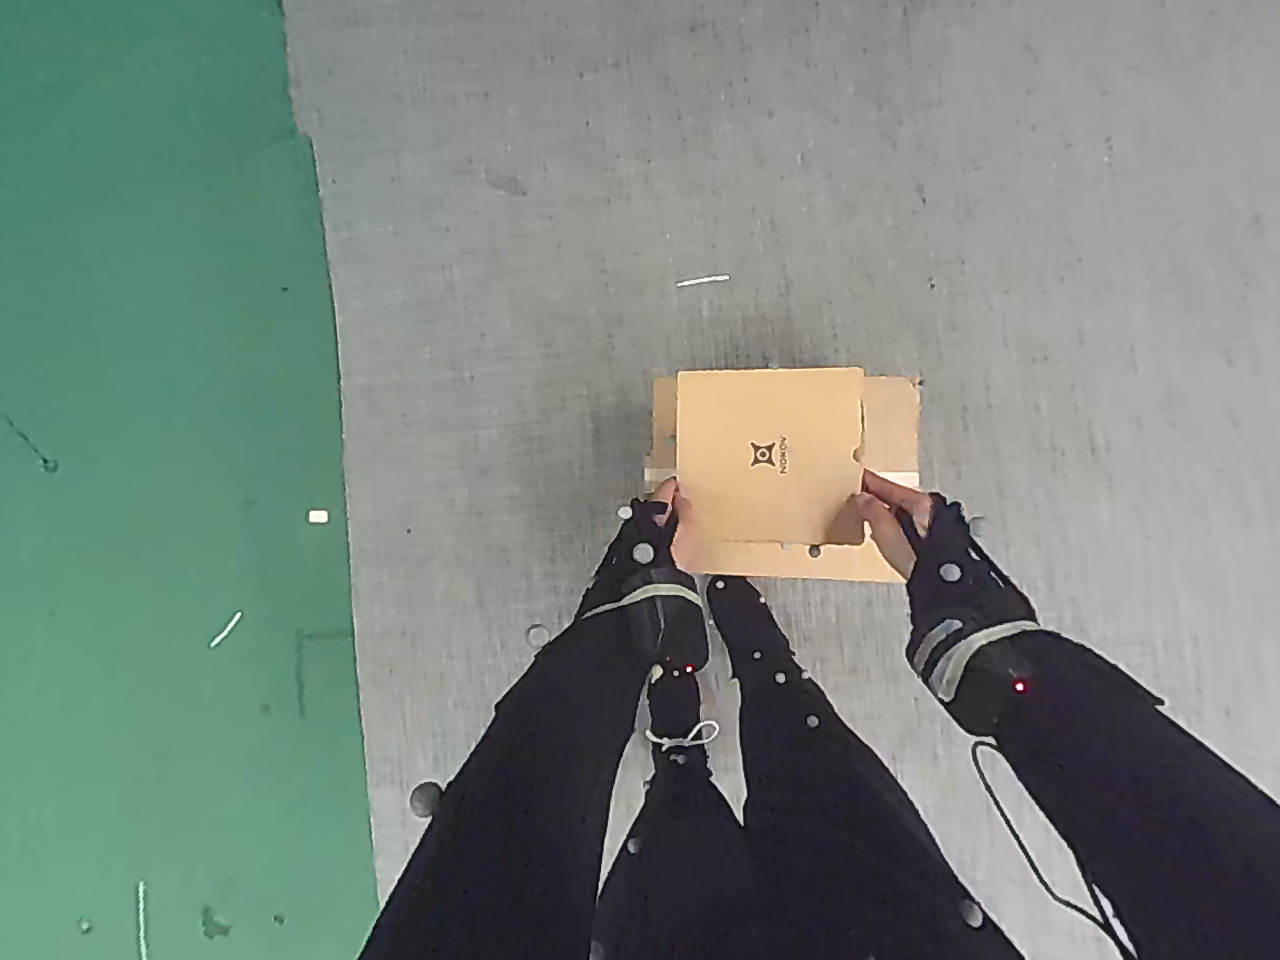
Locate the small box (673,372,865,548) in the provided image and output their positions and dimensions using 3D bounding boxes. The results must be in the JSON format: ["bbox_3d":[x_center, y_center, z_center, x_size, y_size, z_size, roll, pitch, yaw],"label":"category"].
[{"bbox_3d":[0.130,-0.014,0.585,0.179,0.176,0.168,0,86,7],"label":"small box"}]

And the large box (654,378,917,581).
[{"bbox_3d":[0.236,0.001,0.984,0.408,0.320,0.320,1,90,7],"label":"large box"}]
